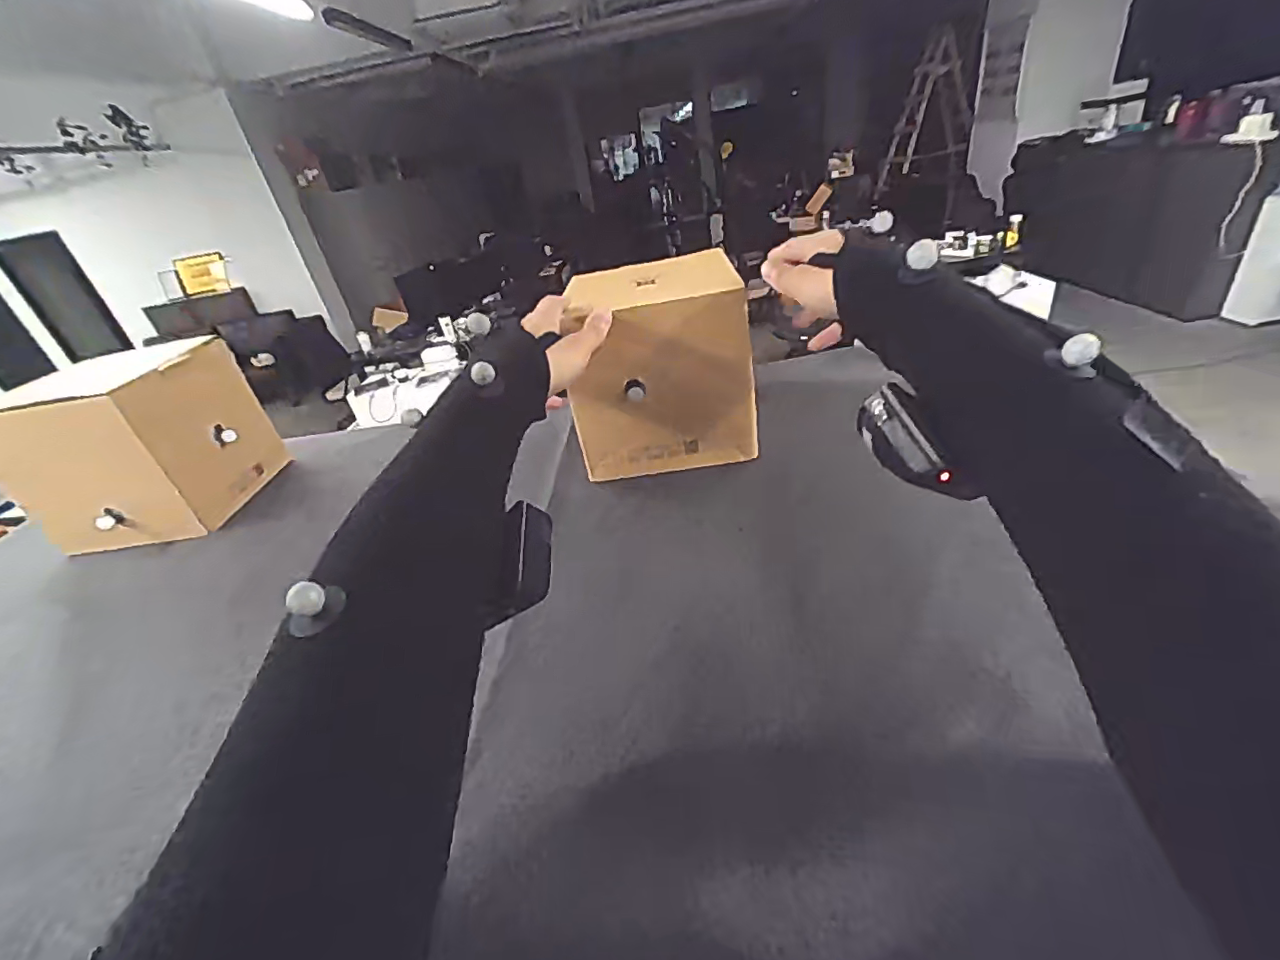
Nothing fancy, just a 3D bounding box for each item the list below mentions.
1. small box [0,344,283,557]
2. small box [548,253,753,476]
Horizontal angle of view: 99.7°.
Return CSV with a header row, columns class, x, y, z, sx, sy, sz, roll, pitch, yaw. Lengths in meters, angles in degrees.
class,x,y,z,sx,sy,sz,roll,pitch,yaw
small box,-0.552,-0.034,0.603,0.179,0.176,0.168,-8,32,4
small box,0.018,-0.115,0.554,0.168,0.176,0.179,-8,32,6
